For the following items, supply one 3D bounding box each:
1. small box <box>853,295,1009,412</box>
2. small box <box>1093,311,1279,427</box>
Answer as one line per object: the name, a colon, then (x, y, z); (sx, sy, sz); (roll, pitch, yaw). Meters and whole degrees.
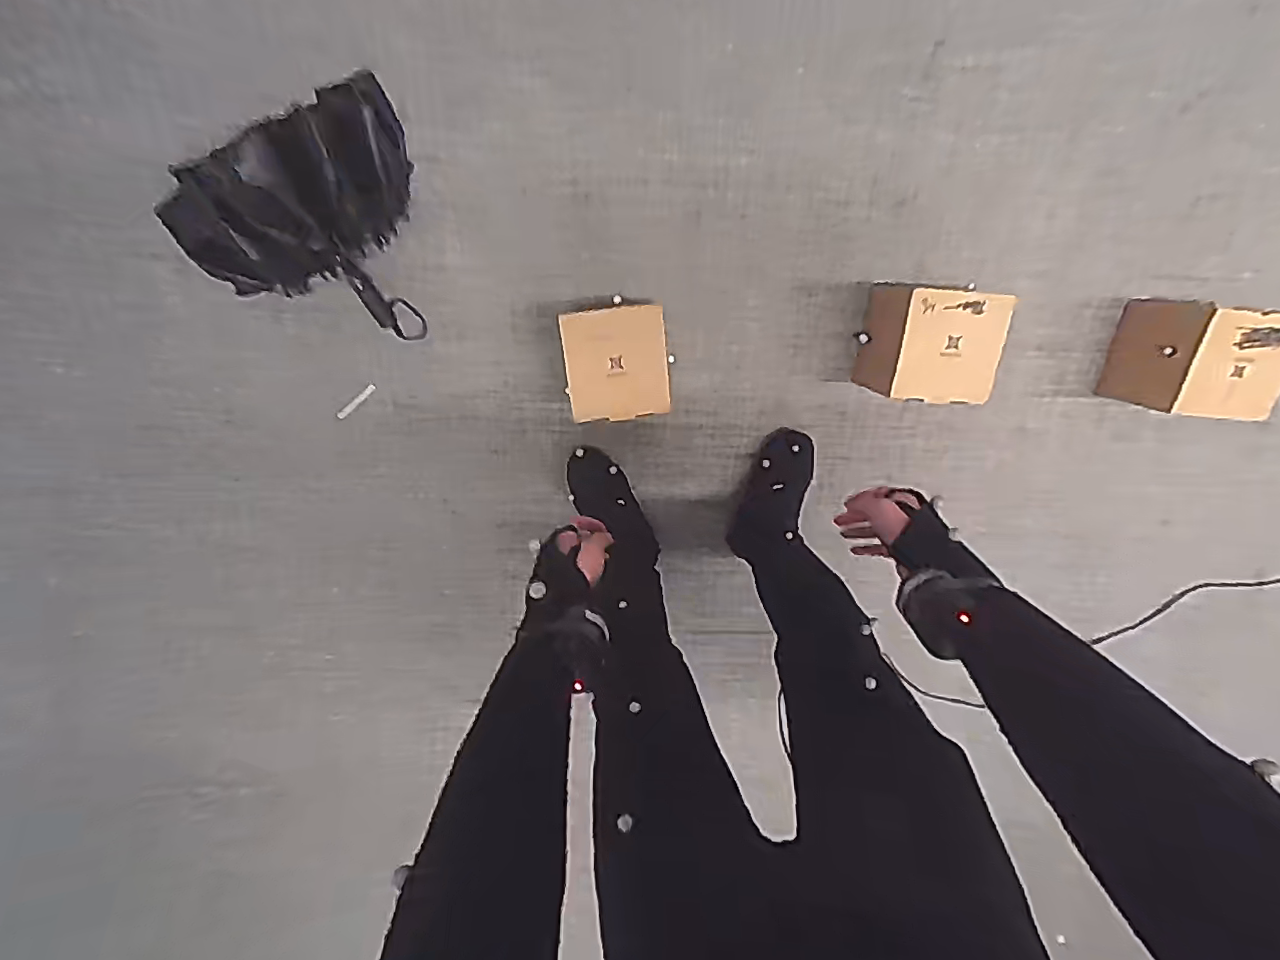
small box: (0.496, -0.229, 0.955); (0.168, 0.176, 0.179); (4, 109, -2)
small box: (0.972, -0.204, 0.966); (0.168, 0.176, 0.179); (4, 110, -1)
